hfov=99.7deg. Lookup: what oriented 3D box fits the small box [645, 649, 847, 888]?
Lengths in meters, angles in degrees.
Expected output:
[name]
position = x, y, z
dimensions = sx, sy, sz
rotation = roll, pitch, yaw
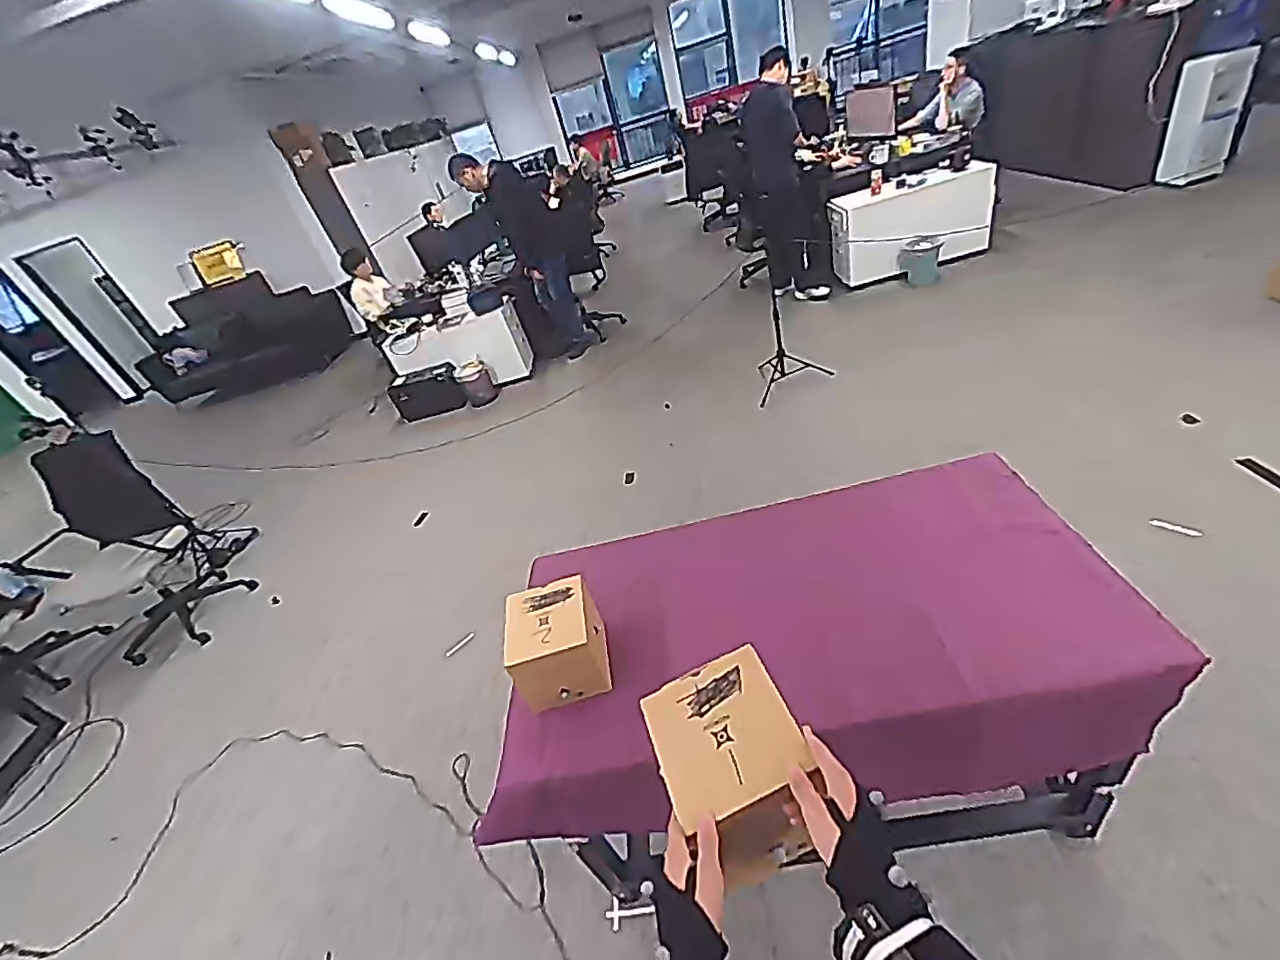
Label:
[small box]
position = 0.129, 0.355, 0.672
dimensions = 0.168, 0.176, 0.179
rotation = -28, 33, 1
